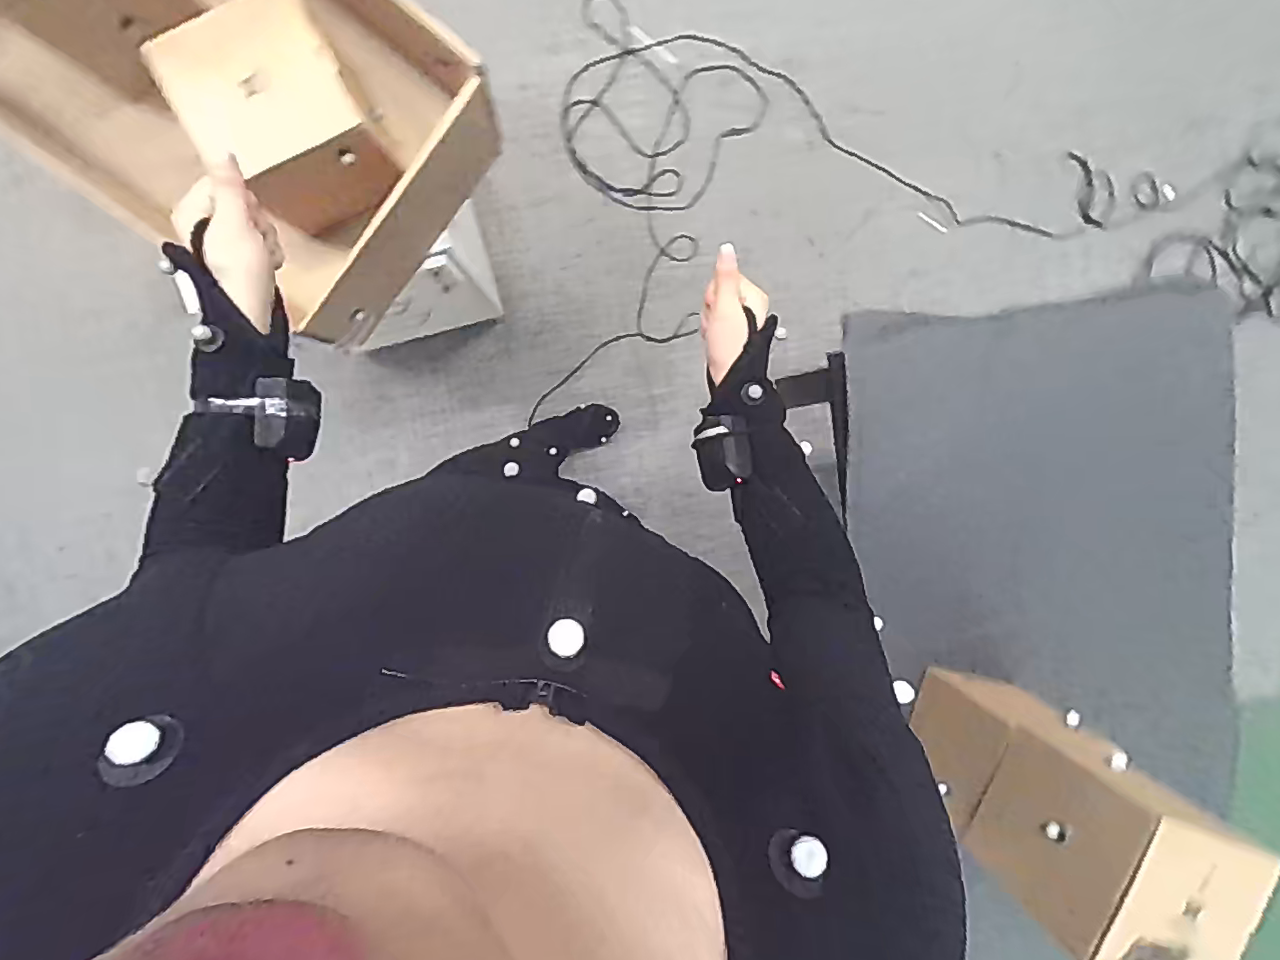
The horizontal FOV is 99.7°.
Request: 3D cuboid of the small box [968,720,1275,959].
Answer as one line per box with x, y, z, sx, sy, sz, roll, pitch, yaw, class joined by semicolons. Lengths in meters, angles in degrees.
0.518;0.414;0.611;0.168;0.176;0.179;23;92;-9;small box
